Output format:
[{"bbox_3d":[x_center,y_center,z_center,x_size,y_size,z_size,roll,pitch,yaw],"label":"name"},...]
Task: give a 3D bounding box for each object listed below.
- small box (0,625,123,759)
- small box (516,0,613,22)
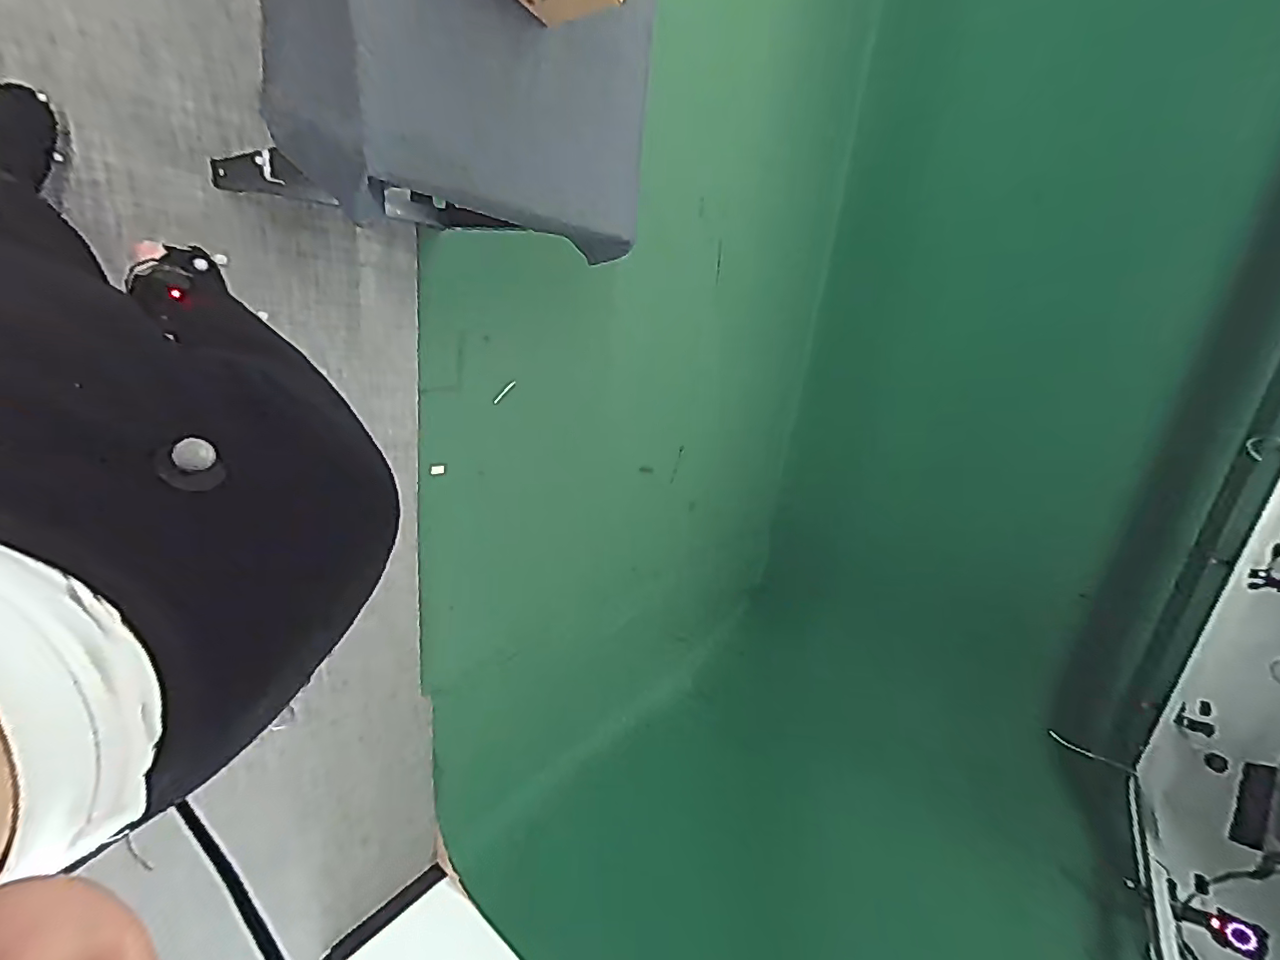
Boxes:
[{"bbox_3d":[-1.252,0.444,1.162,0.168,0.176,0.179,-14,117,-54],"label":"small box"},{"bbox_3d":[-0.137,-0.841,0.812,0.168,0.176,0.179,-3,109,-54],"label":"small box"}]
